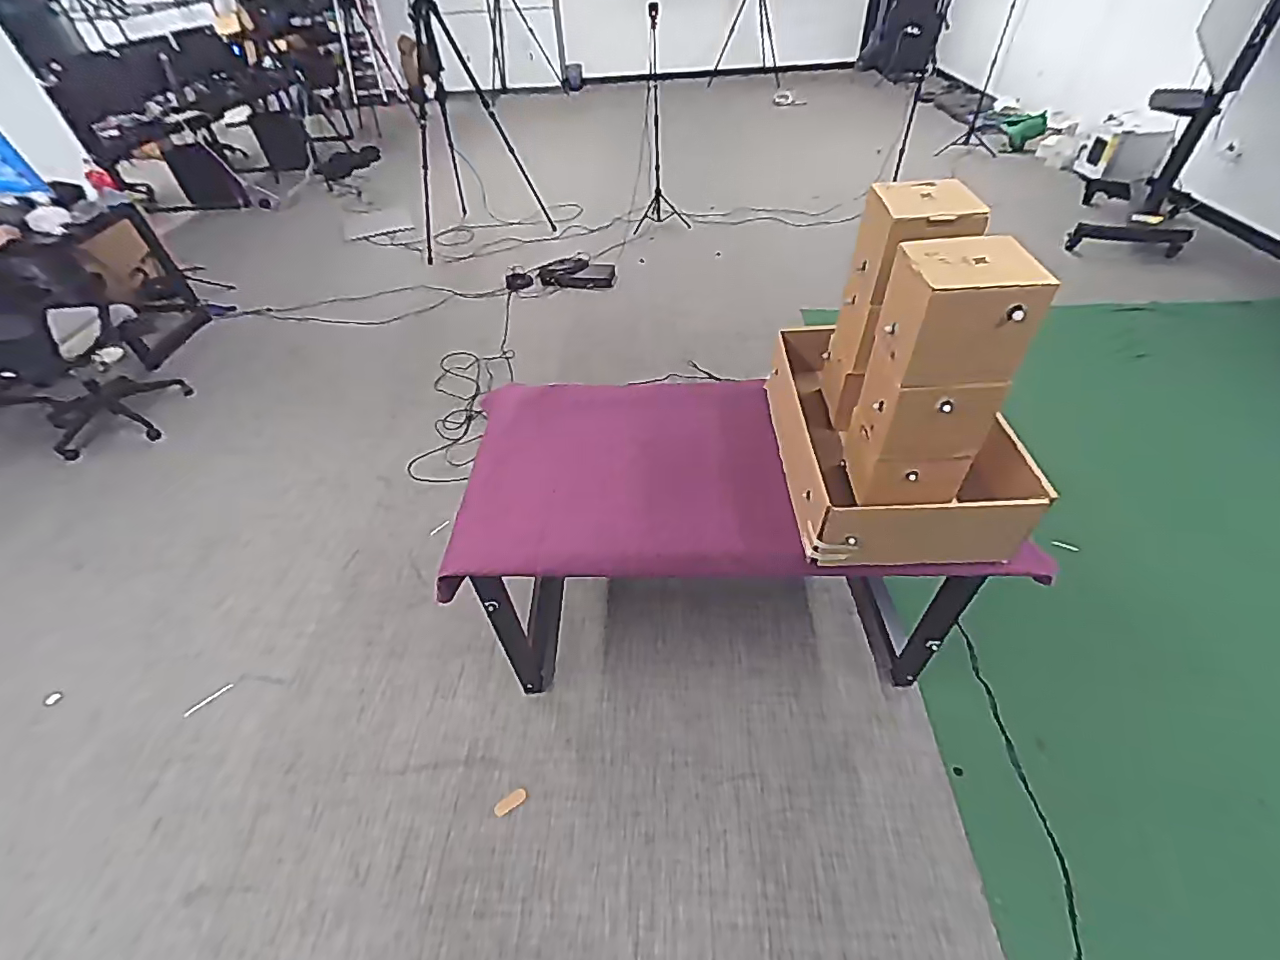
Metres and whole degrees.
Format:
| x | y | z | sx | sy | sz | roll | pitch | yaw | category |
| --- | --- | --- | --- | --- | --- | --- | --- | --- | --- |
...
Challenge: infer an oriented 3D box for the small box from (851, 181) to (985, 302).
| x | y | z | sx | sy | sz | roll | pitch | yaw | category |
| --- | --- | --- | --- | --- | --- | --- | --- | --- | --- |
| 0.527 | -0.457 | 1.054 | 0.168 | 0.176 | 0.179 | 0 | 48 | 4 | small box |

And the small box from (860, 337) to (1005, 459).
| x | y | z | sx | sy | sz | roll | pitch | yaw | category |
| --- | --- | --- | --- | --- | --- | --- | --- | --- | --- |
| 0.514 | -0.151 | 0.987 | 0.179 | 0.176 | 0.168 | 0 | 46 | 5 | small box |

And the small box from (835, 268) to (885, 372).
| x | y | z | sx | sy | sz | roll | pitch | yaw | category |
| --- | --- | --- | --- | --- | --- | --- | --- | --- | --- |
| 0.534 | -0.344 | 1.172 | 0.168 | 0.176 | 0.179 | 0 | 47 | 4 | small box |

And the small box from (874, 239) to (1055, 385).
| x | y | z | sx | sy | sz | roll | pitch | yaw | category |
| --- | --- | --- | --- | --- | --- | --- | --- | --- | --- |
| 0.503 | -0.268 | 0.872 | 0.179 | 0.176 | 0.168 | -1 | 46 | 5 | small box |
